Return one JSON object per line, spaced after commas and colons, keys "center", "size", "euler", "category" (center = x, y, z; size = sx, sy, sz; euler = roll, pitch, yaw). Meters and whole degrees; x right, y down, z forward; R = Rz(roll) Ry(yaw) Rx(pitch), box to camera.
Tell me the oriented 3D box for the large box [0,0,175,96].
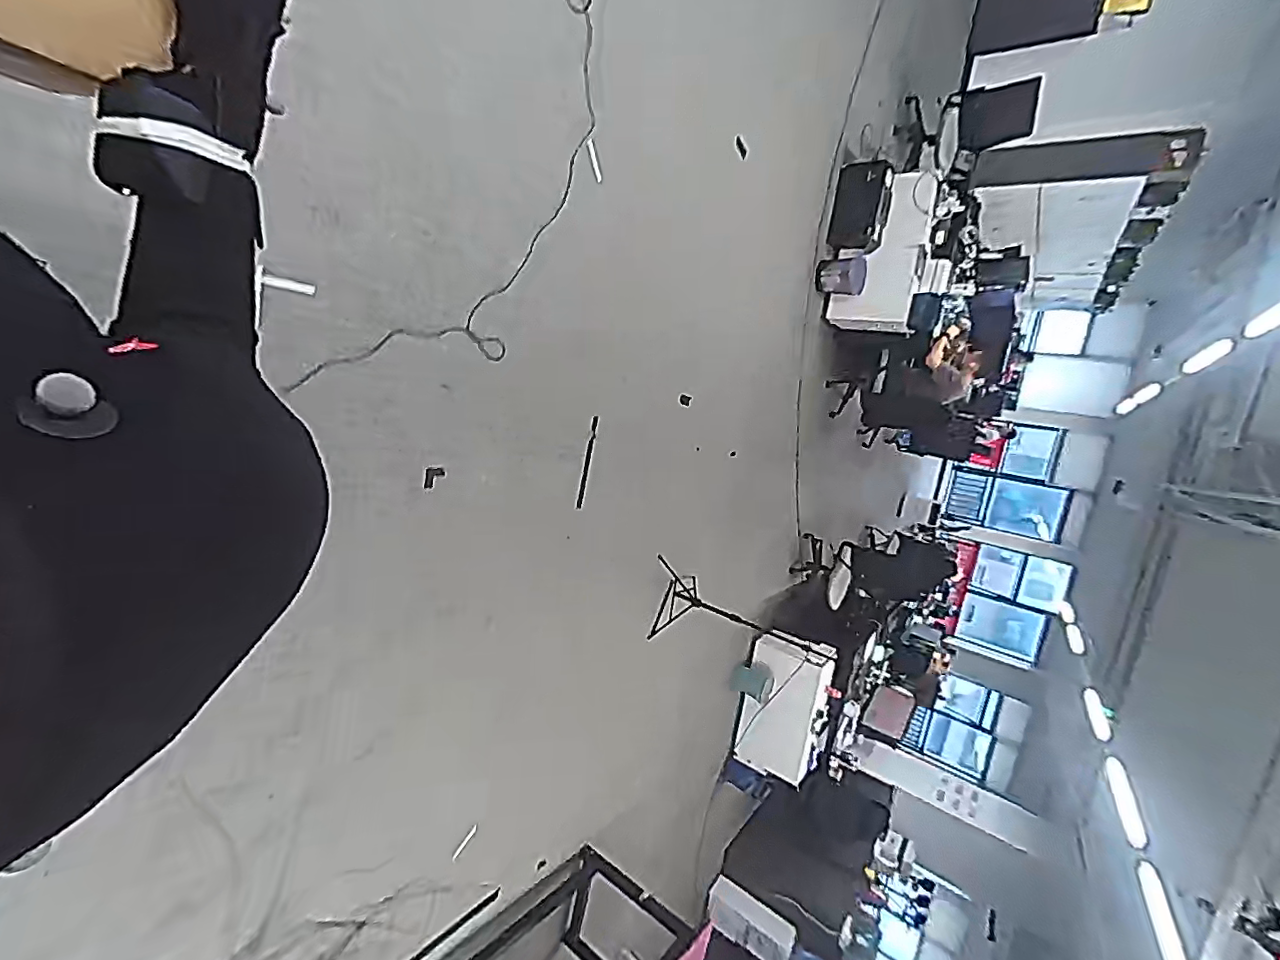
{"center": [-0.512, -0.448, 0.245], "size": [0.408, 0.320, 0.320], "euler": [-6, 118, -57], "category": "large box"}
